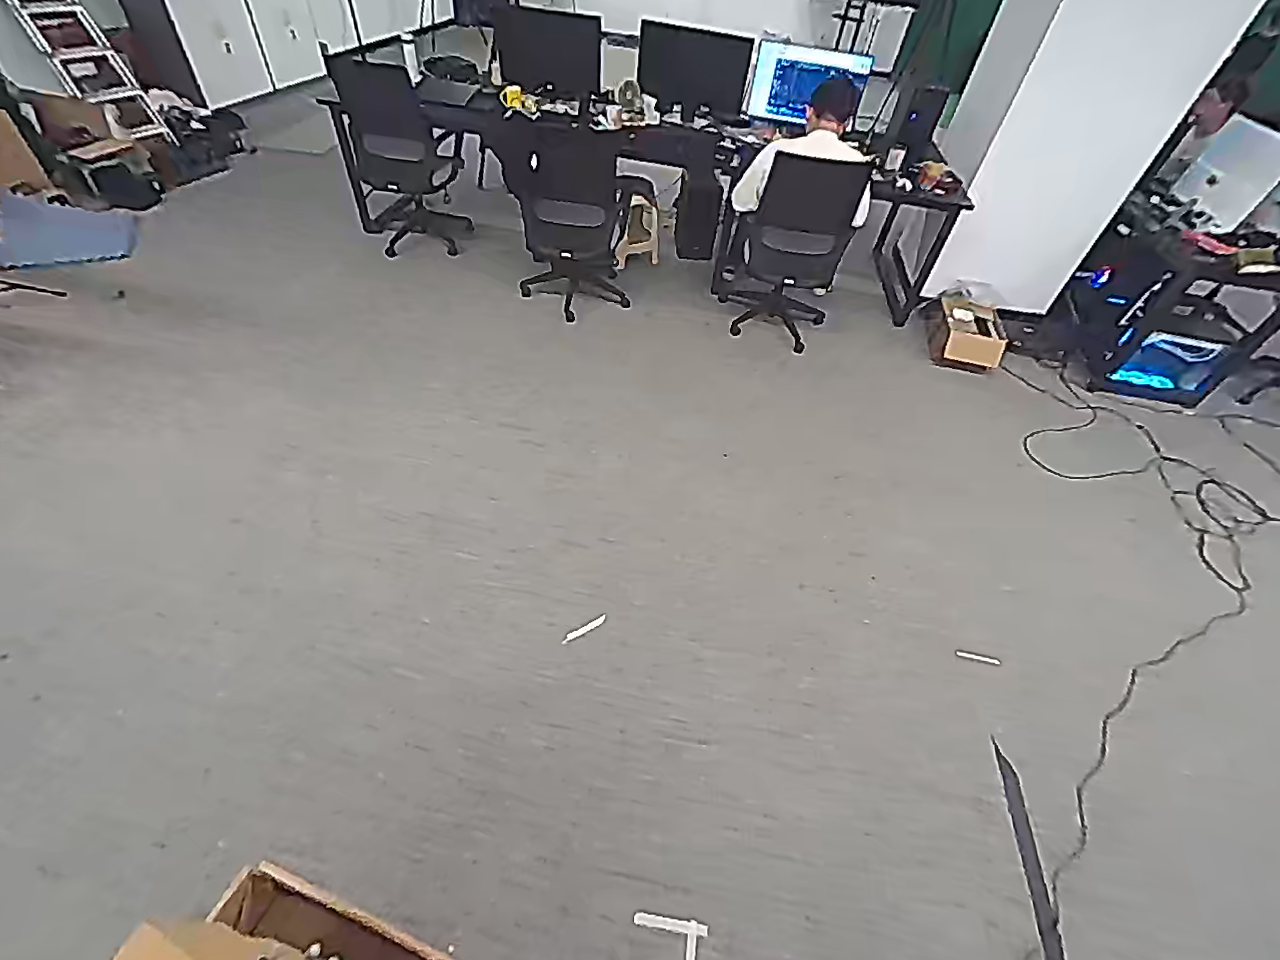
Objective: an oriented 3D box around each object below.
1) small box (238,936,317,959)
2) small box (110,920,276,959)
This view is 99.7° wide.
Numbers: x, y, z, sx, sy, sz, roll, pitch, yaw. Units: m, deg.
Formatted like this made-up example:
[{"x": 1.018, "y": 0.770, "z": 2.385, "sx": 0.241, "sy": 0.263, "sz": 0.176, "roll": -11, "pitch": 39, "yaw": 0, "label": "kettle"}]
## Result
[{"x": -0.460, "y": 0.675, "z": 0.634, "sx": 0.168, "sy": 0.176, "sz": 0.179, "roll": 15, "pitch": 47, "yaw": 9, "label": "small box"}, {"x": -0.438, "y": 0.558, "z": 0.508, "sx": 0.179, "sy": 0.176, "sz": 0.168, "roll": 23, "pitch": 51, "yaw": 11, "label": "small box"}]
